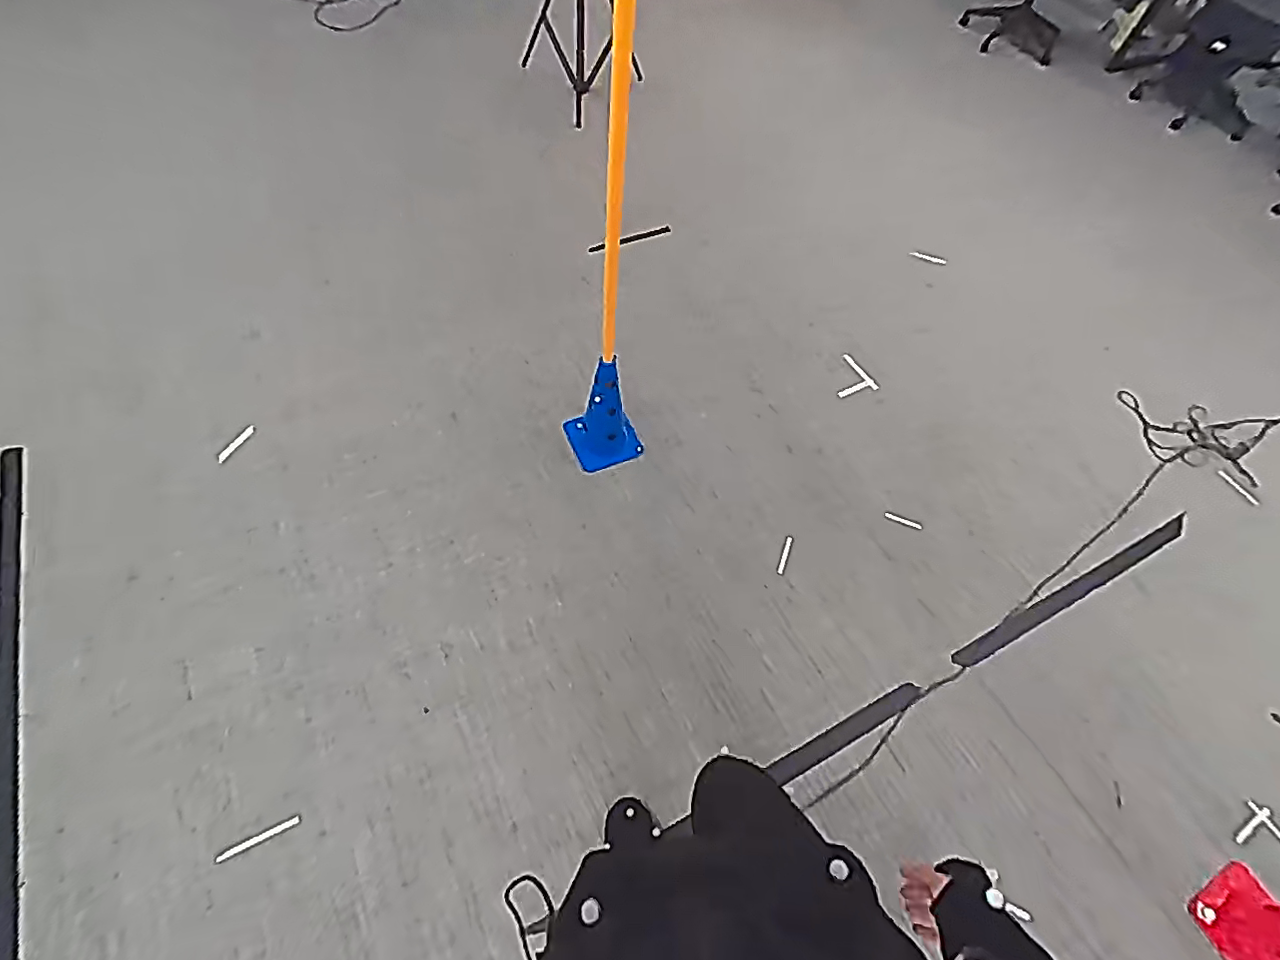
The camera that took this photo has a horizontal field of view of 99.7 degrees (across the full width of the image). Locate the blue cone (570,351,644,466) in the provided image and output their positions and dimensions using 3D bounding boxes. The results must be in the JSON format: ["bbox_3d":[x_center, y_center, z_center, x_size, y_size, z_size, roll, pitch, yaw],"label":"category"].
[{"bbox_3d":[-0.089,-0.217,1.517,0.192,0.380,0.193,-18,64,-16],"label":"blue cone"}]
